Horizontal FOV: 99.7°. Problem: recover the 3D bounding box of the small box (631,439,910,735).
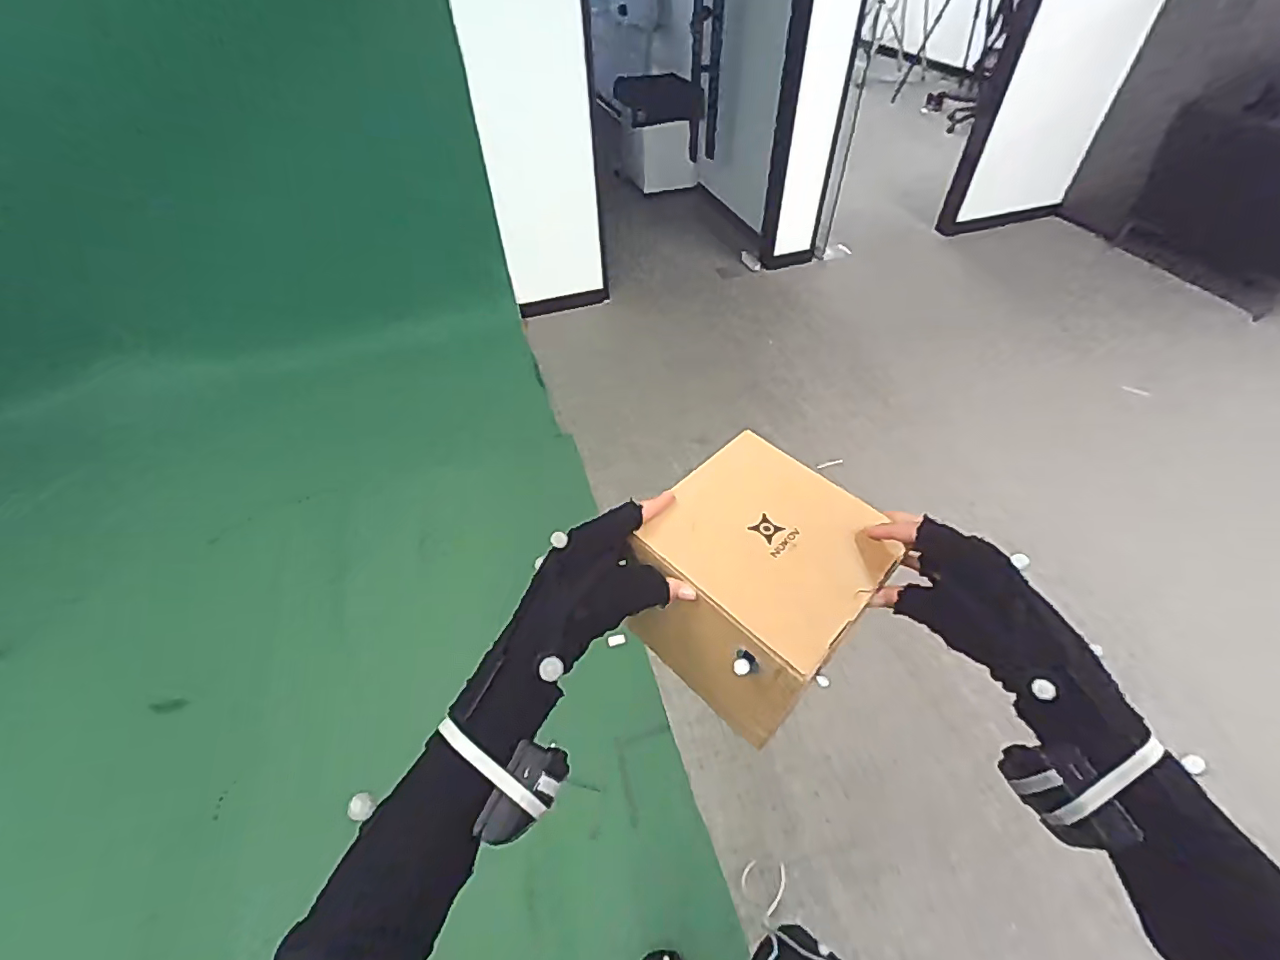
[{"bbox_3d":[0.104,0.099,0.505,0.168,0.176,0.179,-36,59,-29],"label":"small box"}]
